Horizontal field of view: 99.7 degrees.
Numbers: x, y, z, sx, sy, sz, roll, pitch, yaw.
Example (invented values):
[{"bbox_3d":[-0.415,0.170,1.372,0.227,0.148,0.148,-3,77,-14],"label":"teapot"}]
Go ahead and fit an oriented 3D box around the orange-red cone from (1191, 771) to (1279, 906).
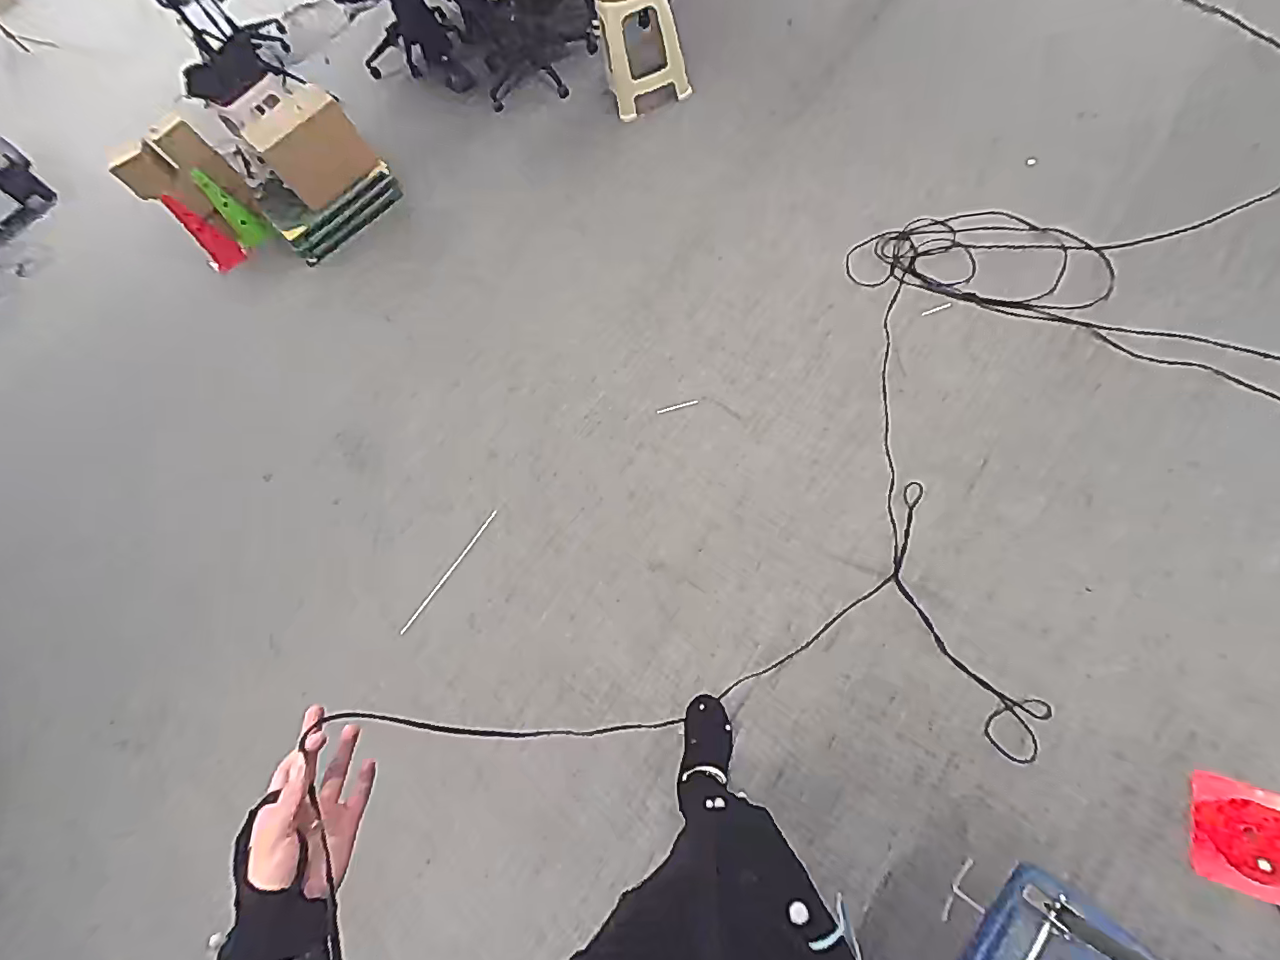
[{"bbox_3d":[1.170,0.633,0.909,0.198,0.360,0.199,16,69,20],"label":"orange-red cone"}]
